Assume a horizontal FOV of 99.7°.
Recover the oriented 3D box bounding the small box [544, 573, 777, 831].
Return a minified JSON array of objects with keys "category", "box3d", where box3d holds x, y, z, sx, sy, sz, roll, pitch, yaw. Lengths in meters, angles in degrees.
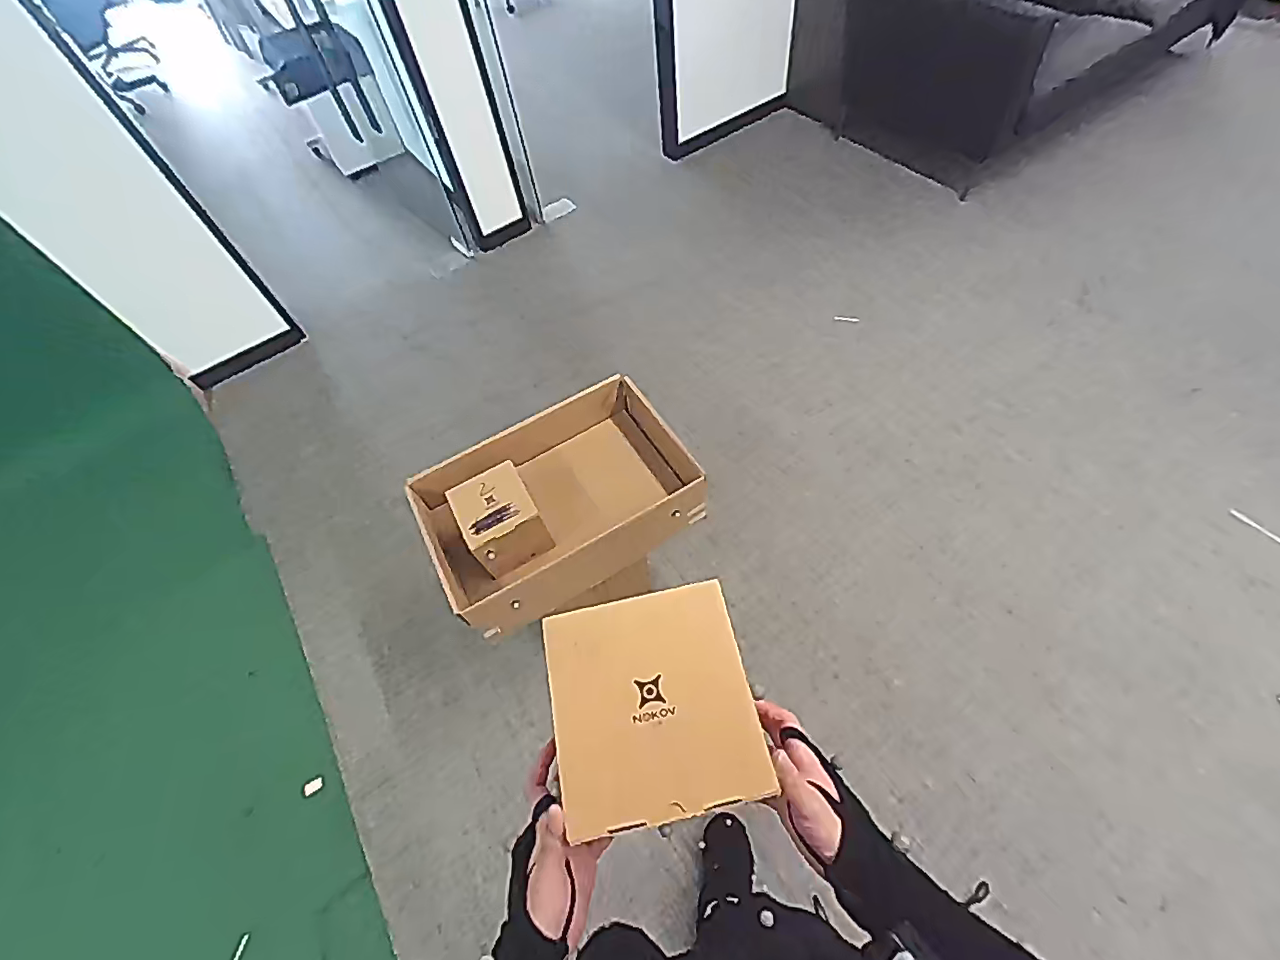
[{"category":"small box","box3d":[0.013,0.213,0.517,0.168,0.176,0.179,-13,60,-2]}]
